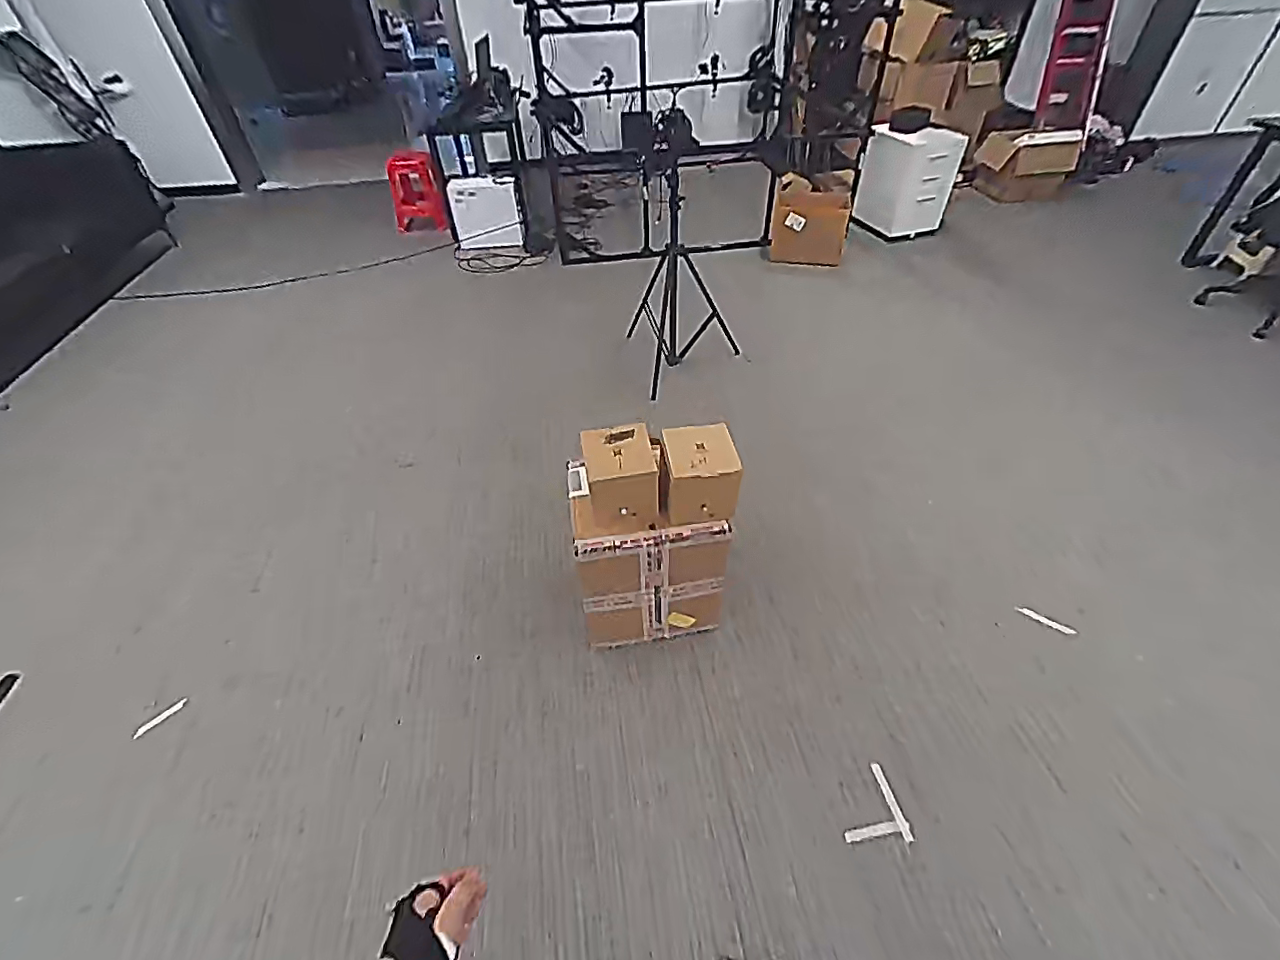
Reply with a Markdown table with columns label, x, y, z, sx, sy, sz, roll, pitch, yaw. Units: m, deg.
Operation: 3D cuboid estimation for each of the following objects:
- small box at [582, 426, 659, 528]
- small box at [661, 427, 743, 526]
| label | x | y | z | sx | sy | sz | roll | pitch | yaw |
| --- | --- | --- | --- | --- | --- | --- | --- | --- | --- |
| small box | -0.048 | -0.007 | 1.351 | 0.168 | 0.176 | 0.179 | -10 | 48 | -5 |
| small box | 0.146 | -0.010 | 1.346 | 0.168 | 0.176 | 0.179 | -6 | 46 | -5 |
